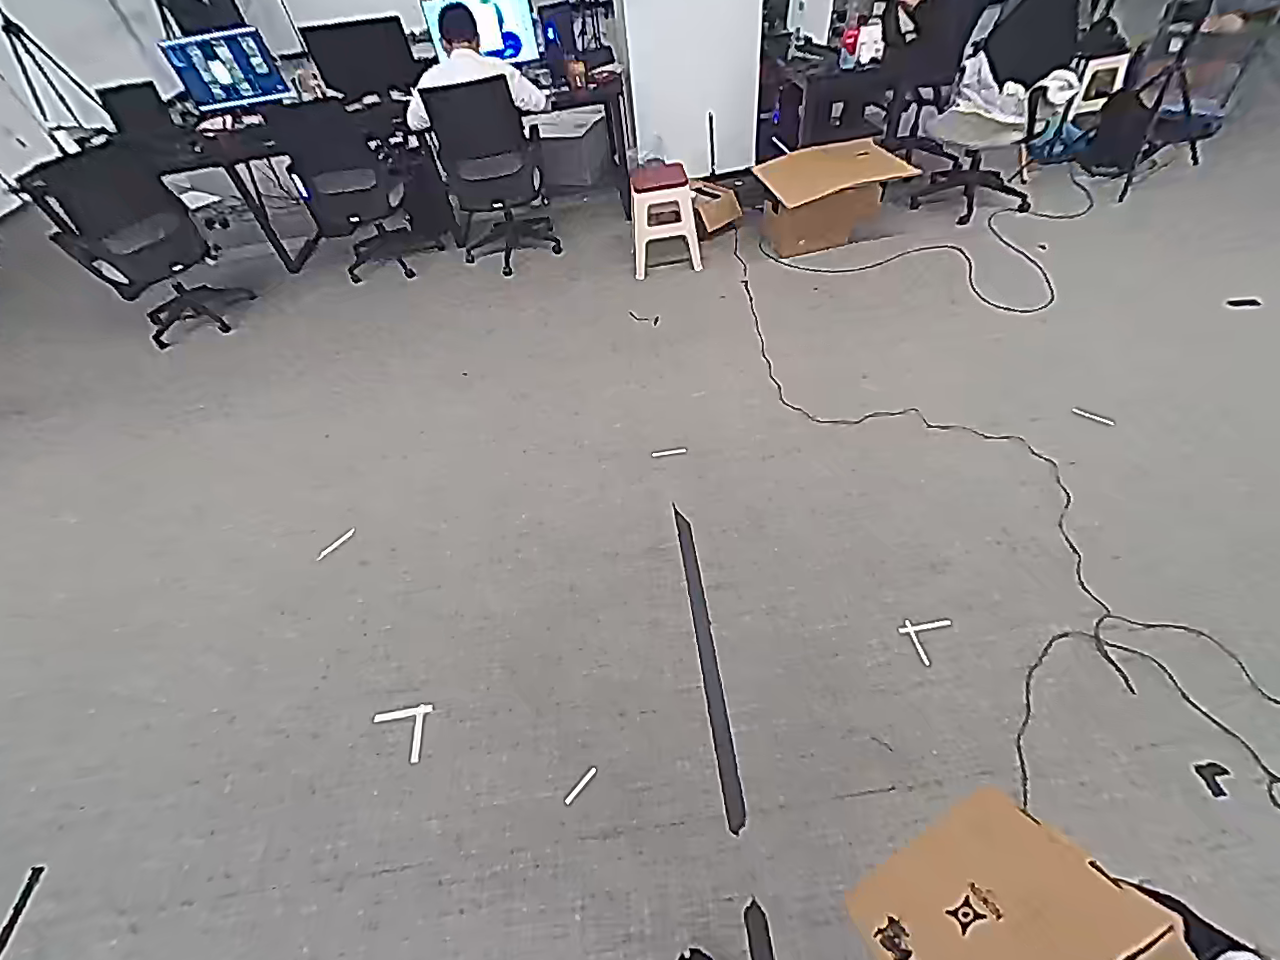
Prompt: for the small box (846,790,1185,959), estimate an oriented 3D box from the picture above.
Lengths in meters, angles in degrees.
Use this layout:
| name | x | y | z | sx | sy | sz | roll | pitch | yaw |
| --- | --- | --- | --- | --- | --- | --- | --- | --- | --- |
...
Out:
| name | x | y | z | sx | sy | sz | roll | pitch | yaw |
| --- | --- | --- | --- | --- | --- | --- | --- | --- | --- |
| small box | 0.310 | 0.406 | 0.429 | 0.179 | 0.168 | 0.176 | -34 | 90 | -4 |
